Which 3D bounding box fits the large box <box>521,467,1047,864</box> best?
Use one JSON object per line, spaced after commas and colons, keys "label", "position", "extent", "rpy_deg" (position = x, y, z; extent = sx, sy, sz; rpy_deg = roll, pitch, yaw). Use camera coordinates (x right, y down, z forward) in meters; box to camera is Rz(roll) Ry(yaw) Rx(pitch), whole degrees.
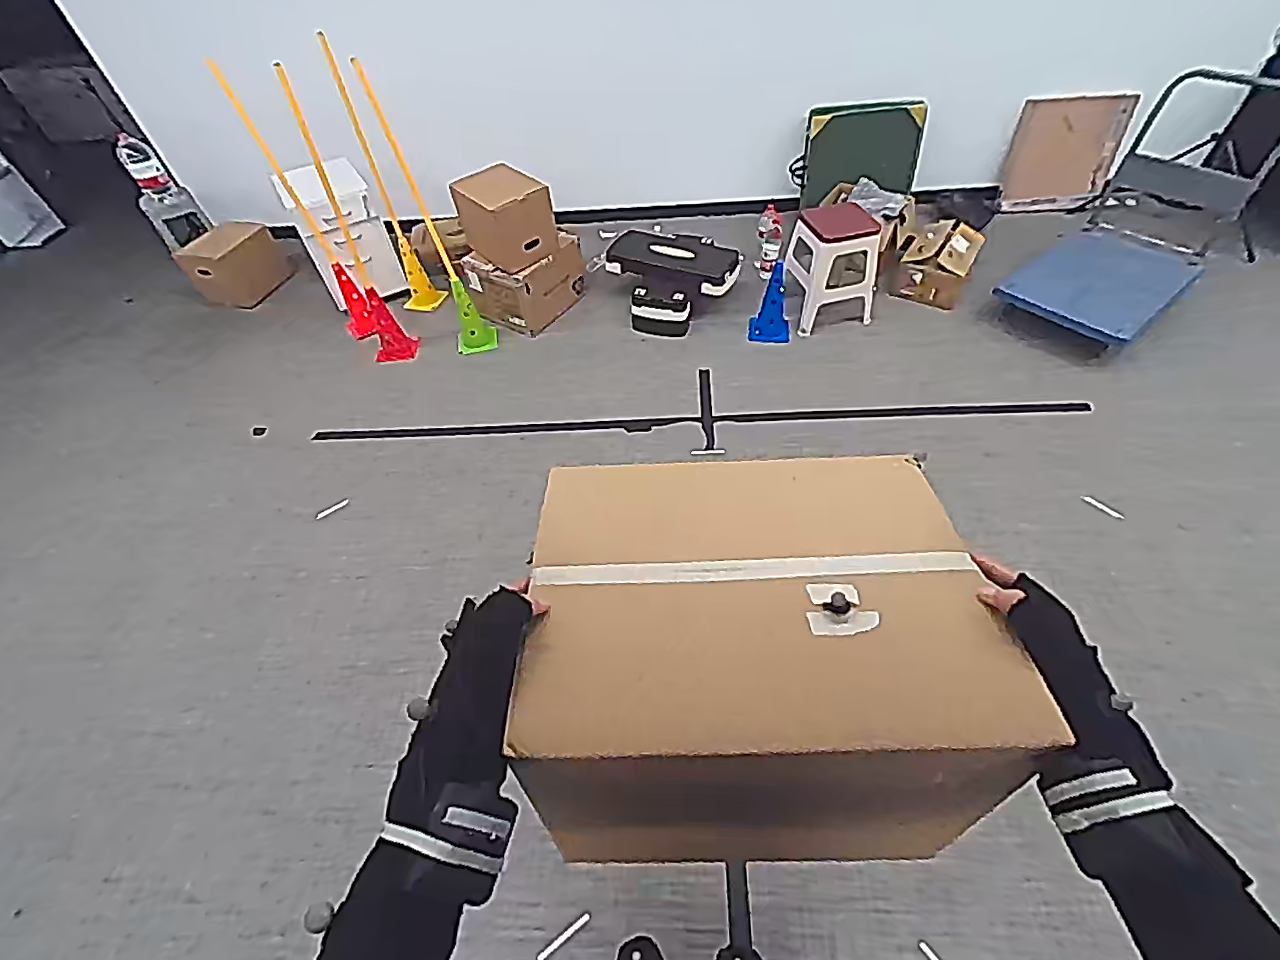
{"label": "large box", "position": [0.109, 0.206, 0.611], "extent": [0.408, 0.320, 0.320], "rpy_deg": [-2, 43, 1]}
